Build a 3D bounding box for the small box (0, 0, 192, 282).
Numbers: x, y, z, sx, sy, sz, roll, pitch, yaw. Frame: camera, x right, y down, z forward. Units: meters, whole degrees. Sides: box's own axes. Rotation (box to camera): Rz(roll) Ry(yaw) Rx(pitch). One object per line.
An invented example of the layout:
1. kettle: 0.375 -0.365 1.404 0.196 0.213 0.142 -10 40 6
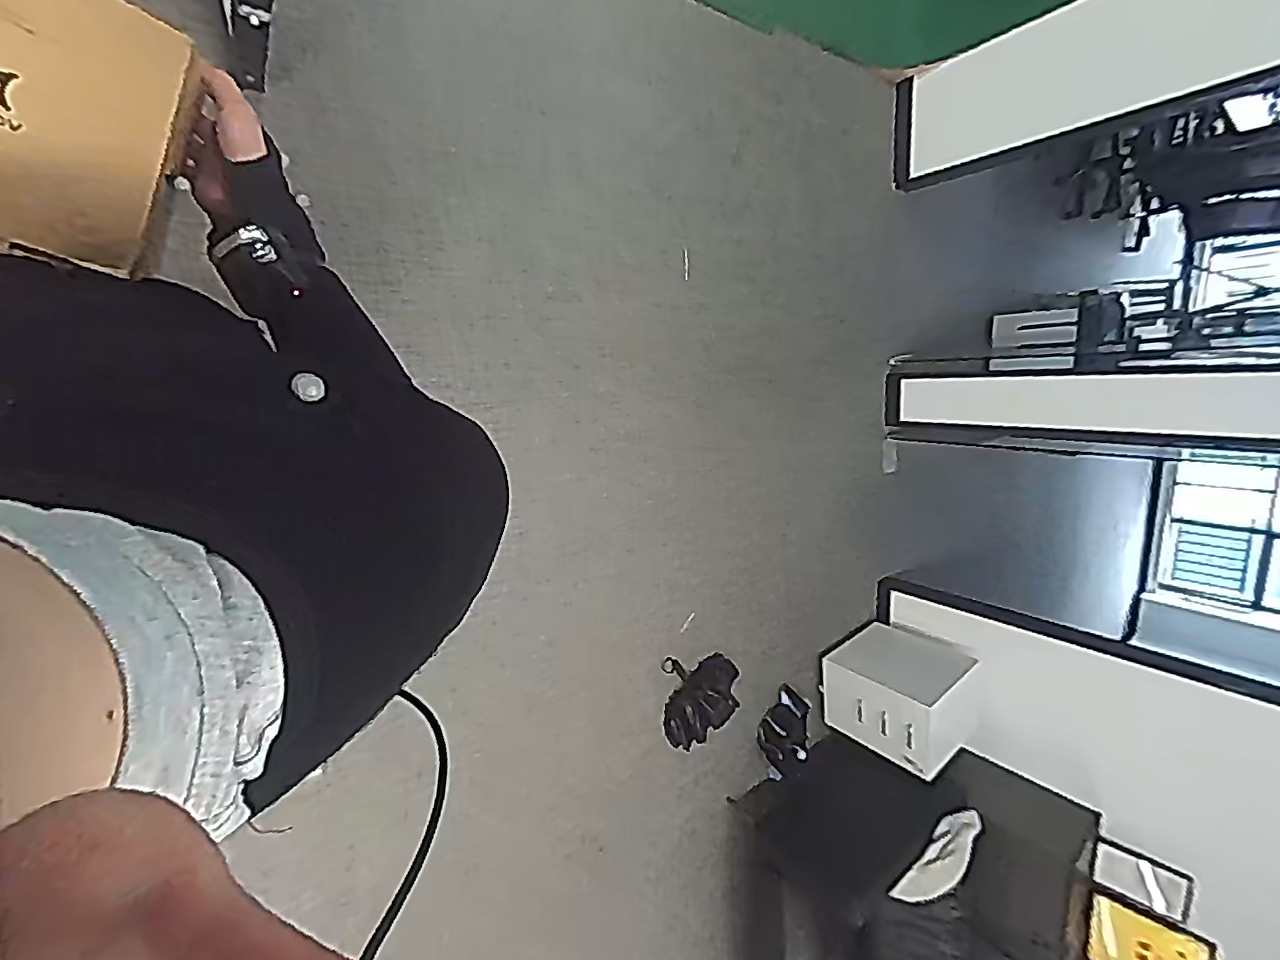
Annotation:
1. small box: -0.446 -0.264 0.390 0.168 0.176 0.179 14 99 -41
